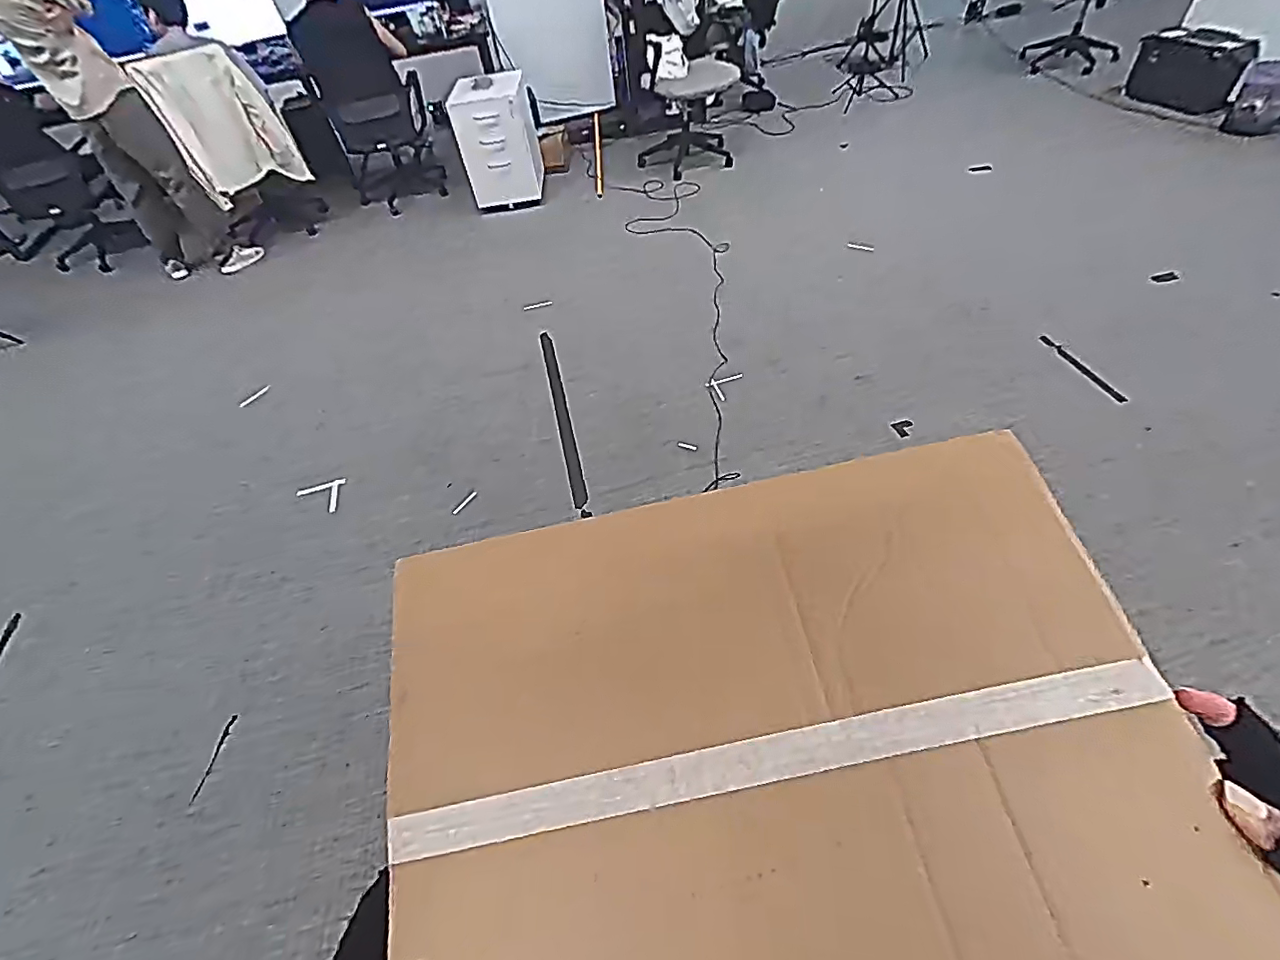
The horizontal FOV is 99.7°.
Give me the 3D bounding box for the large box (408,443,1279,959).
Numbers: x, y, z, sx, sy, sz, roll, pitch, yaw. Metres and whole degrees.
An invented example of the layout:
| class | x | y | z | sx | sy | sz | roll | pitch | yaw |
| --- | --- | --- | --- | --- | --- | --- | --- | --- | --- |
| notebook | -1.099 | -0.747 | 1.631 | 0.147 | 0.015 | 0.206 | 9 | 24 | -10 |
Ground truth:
| class | x | y | z | sx | sy | sz | roll | pitch | yaw |
| --- | --- | --- | --- | --- | --- | --- | --- | --- | --- |
| large box | 0.084 | 0.219 | 0.421 | 0.408 | 0.320 | 0.320 | -13 | 63 | 1 |
